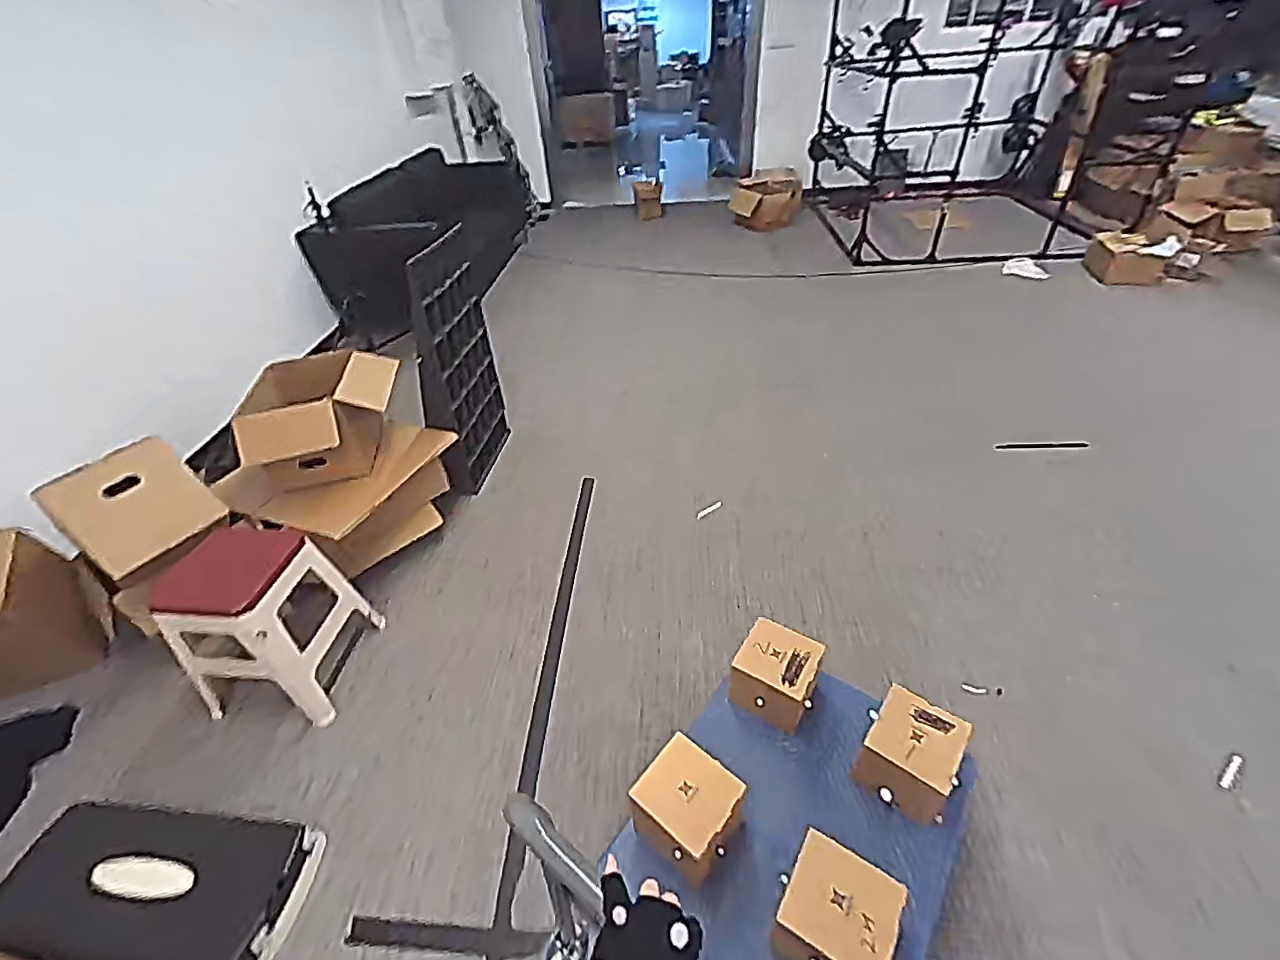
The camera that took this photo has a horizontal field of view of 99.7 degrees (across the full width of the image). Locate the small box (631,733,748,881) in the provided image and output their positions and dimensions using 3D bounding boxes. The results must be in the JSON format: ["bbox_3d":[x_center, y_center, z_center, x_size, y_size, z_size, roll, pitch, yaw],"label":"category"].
[{"bbox_3d":[0.098,0.673,1.114,0.179,0.176,0.168,29,48,31],"label":"small box"}]

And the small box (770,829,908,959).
[{"bbox_3d":[0.345,0.779,0.960,0.179,0.176,0.168,21,45,28],"label":"small box"}]

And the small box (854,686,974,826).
[{"bbox_3d":[0.584,0.595,1.169,0.168,0.176,0.179,26,48,32],"label":"small box"}]
